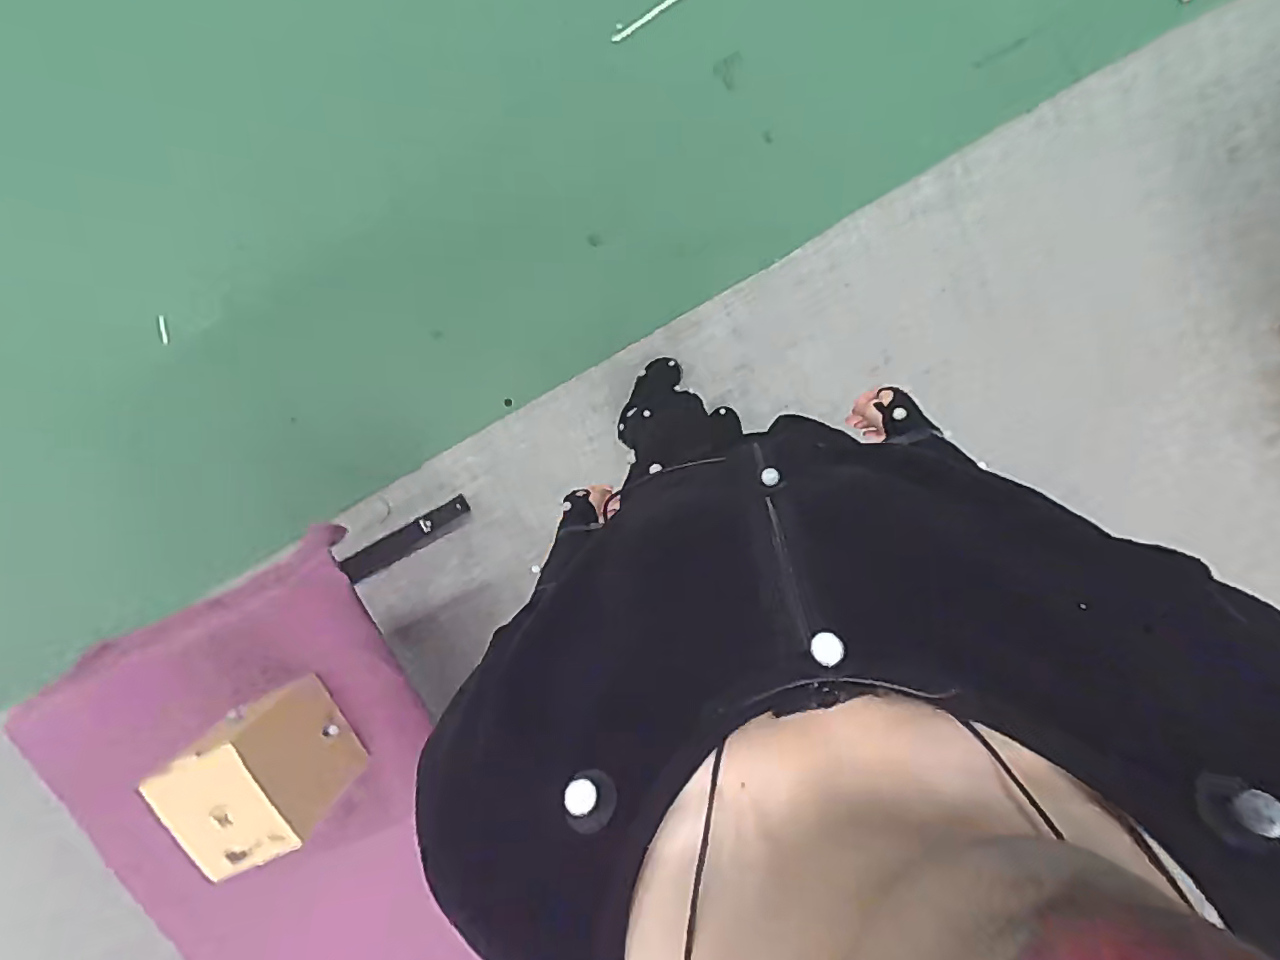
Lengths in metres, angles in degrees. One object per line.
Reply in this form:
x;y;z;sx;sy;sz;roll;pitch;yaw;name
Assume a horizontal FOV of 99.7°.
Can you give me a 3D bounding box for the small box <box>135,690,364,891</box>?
-0.554;0.437;0.792;0.168;0.176;0.179;-26;97;10;small box
